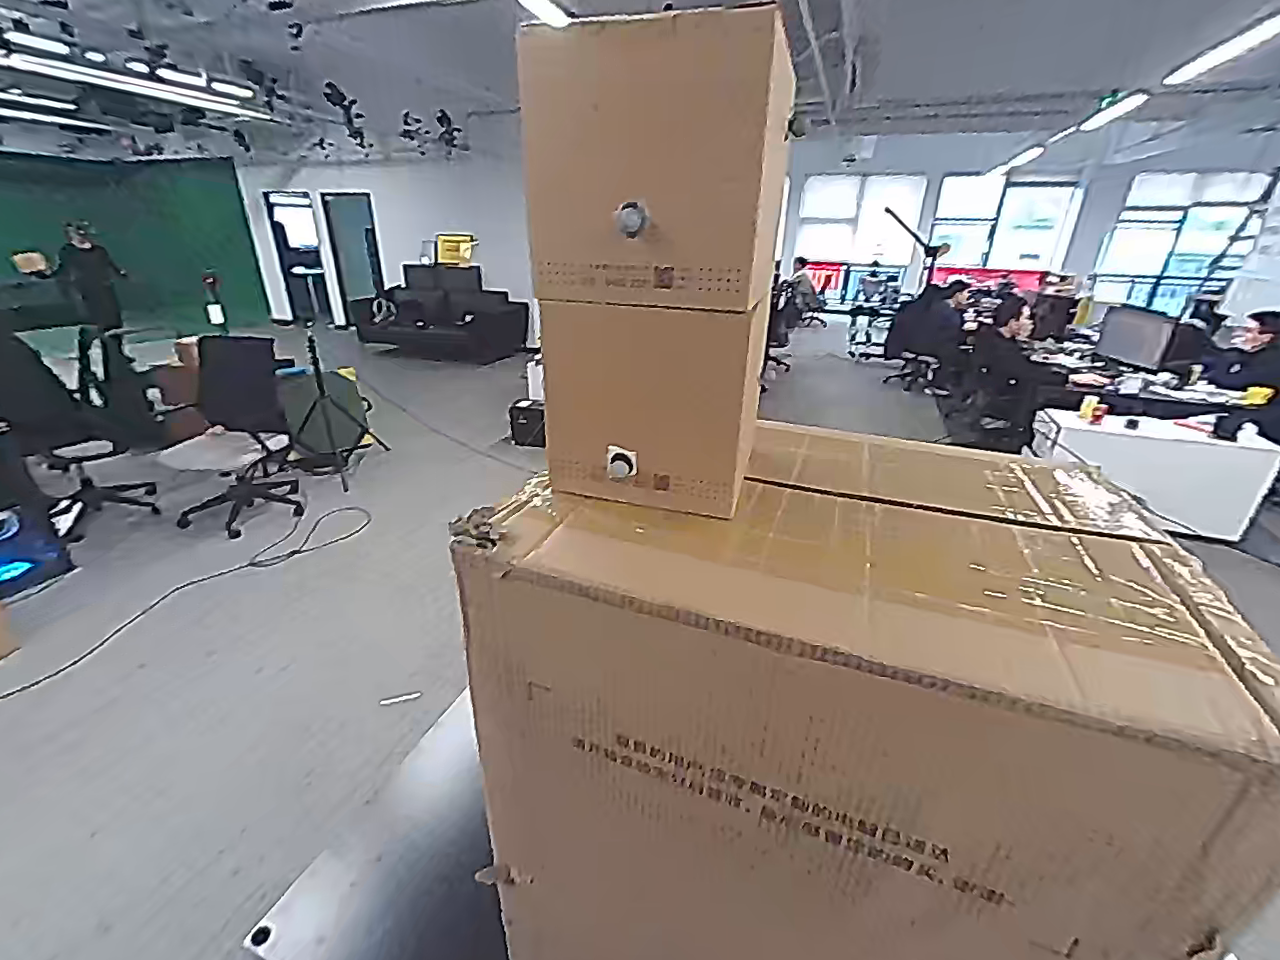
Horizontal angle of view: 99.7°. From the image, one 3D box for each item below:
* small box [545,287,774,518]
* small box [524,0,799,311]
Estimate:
[{"bbox_3d":[0.025,-0.086,0.498,0.168,0.176,0.179,7,27,14],"label":"small box"},{"bbox_3d":[0.025,-0.235,0.427,0.168,0.176,0.179,8,26,16],"label":"small box"}]
